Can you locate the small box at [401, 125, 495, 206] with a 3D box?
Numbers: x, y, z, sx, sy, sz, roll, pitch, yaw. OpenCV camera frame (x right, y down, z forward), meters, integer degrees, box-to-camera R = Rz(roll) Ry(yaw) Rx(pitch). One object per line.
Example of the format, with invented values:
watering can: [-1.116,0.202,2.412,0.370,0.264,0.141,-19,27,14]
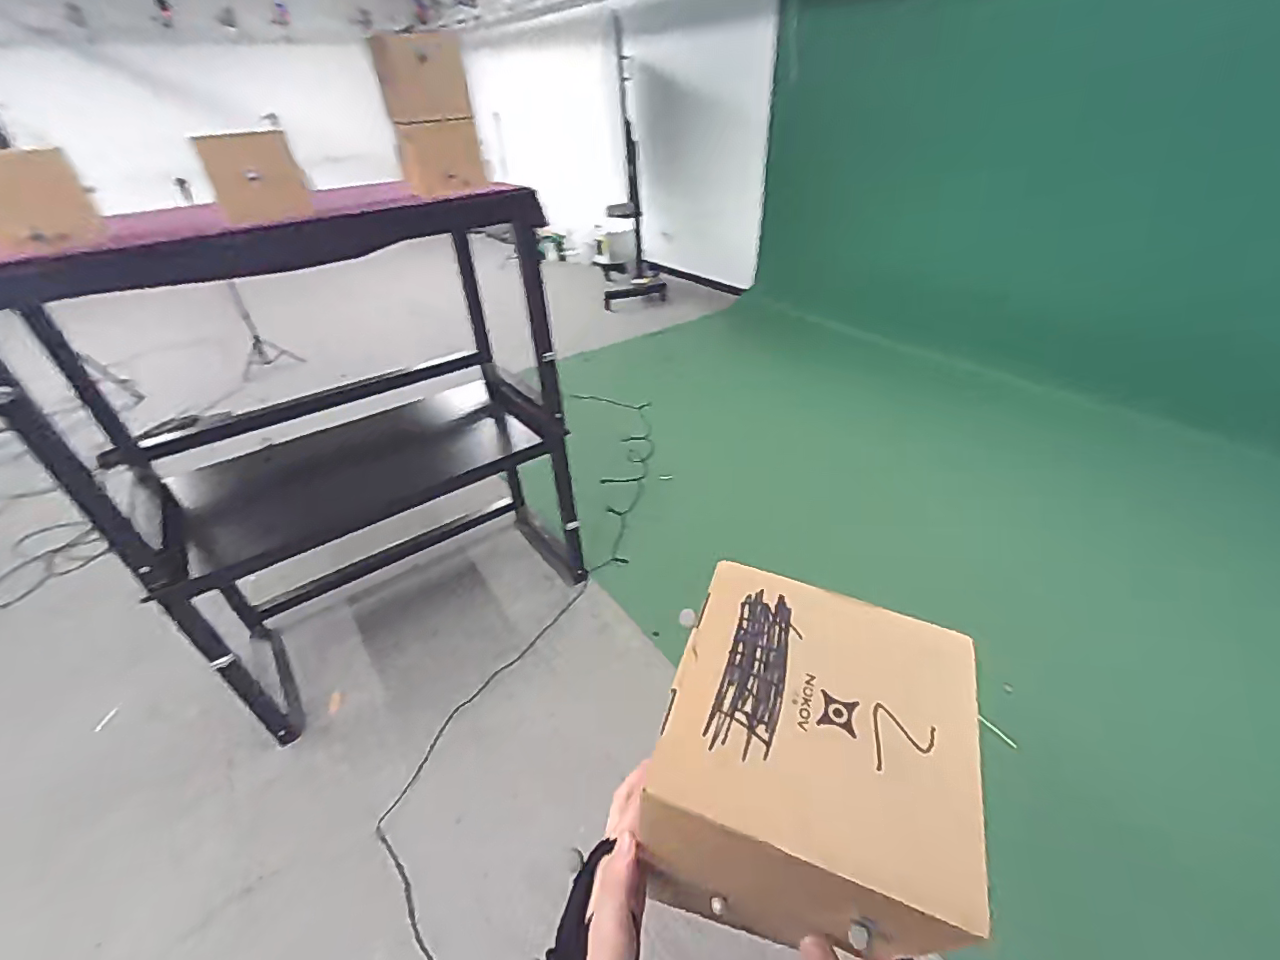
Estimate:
small box: [-0.503,-0.828,1.421,0.168,0.176,0.179,-25,42,-27]

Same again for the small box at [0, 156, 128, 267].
small box: [-1.132,-0.517,1.037,0.168,0.176,0.179,-27,41,-28]

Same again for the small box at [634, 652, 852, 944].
small box: [0.092,0.297,0.510,0.168,0.176,0.179,11,46,11]

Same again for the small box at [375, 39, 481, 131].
small box: [-0.512,-0.956,1.317,0.179,0.176,0.168,-25,42,-27]

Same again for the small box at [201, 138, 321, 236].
small box: [-0.843,-0.662,1.216,0.179,0.176,0.168,-25,39,-25]
